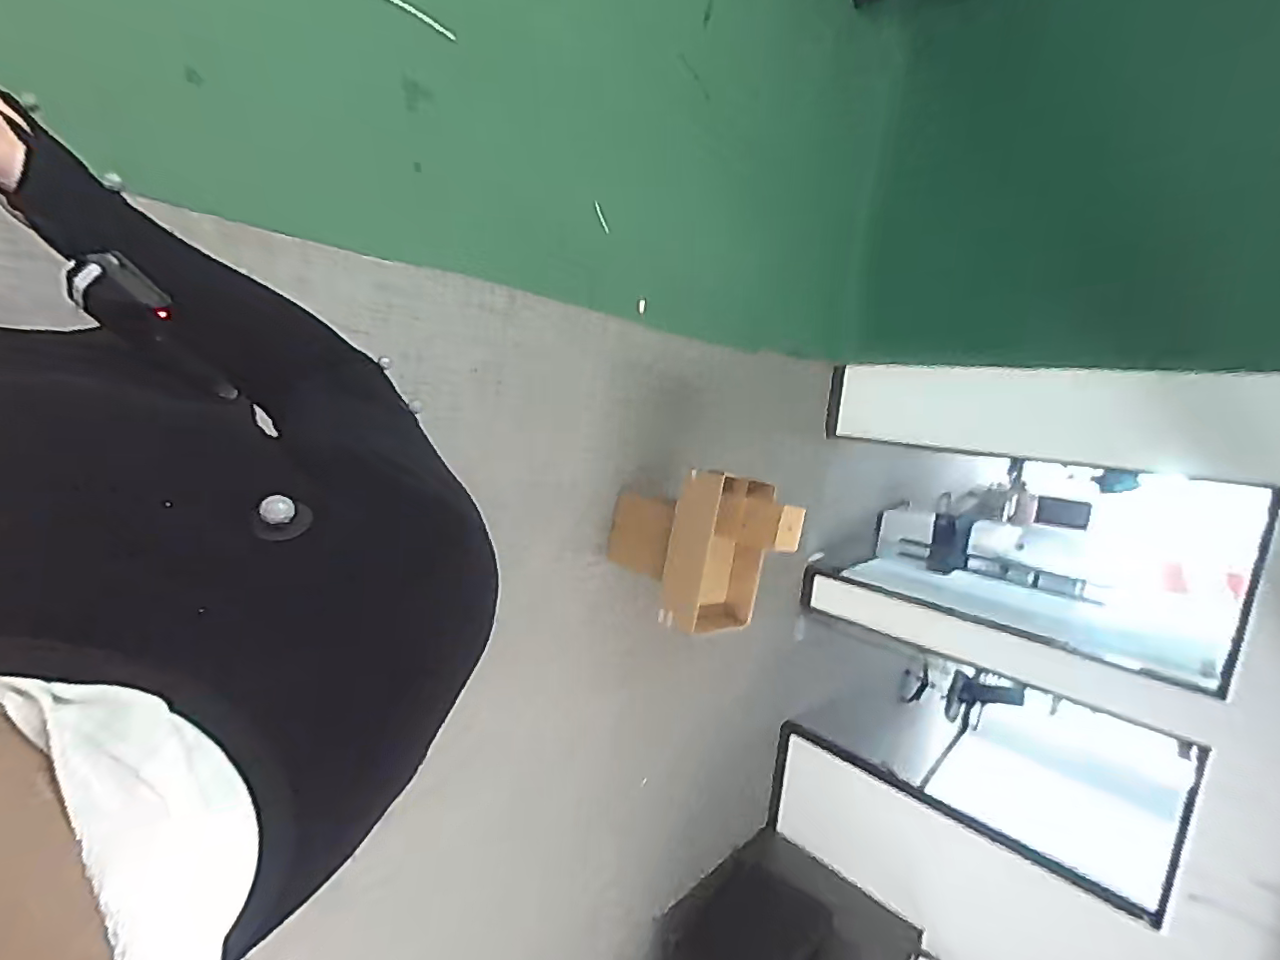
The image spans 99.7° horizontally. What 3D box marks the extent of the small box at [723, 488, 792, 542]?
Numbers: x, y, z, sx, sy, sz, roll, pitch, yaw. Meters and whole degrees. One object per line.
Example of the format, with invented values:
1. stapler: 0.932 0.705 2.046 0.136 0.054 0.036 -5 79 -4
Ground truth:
1. small box: 0.441 0.132 2.032 0.179 0.176 0.168 9 94 -48
